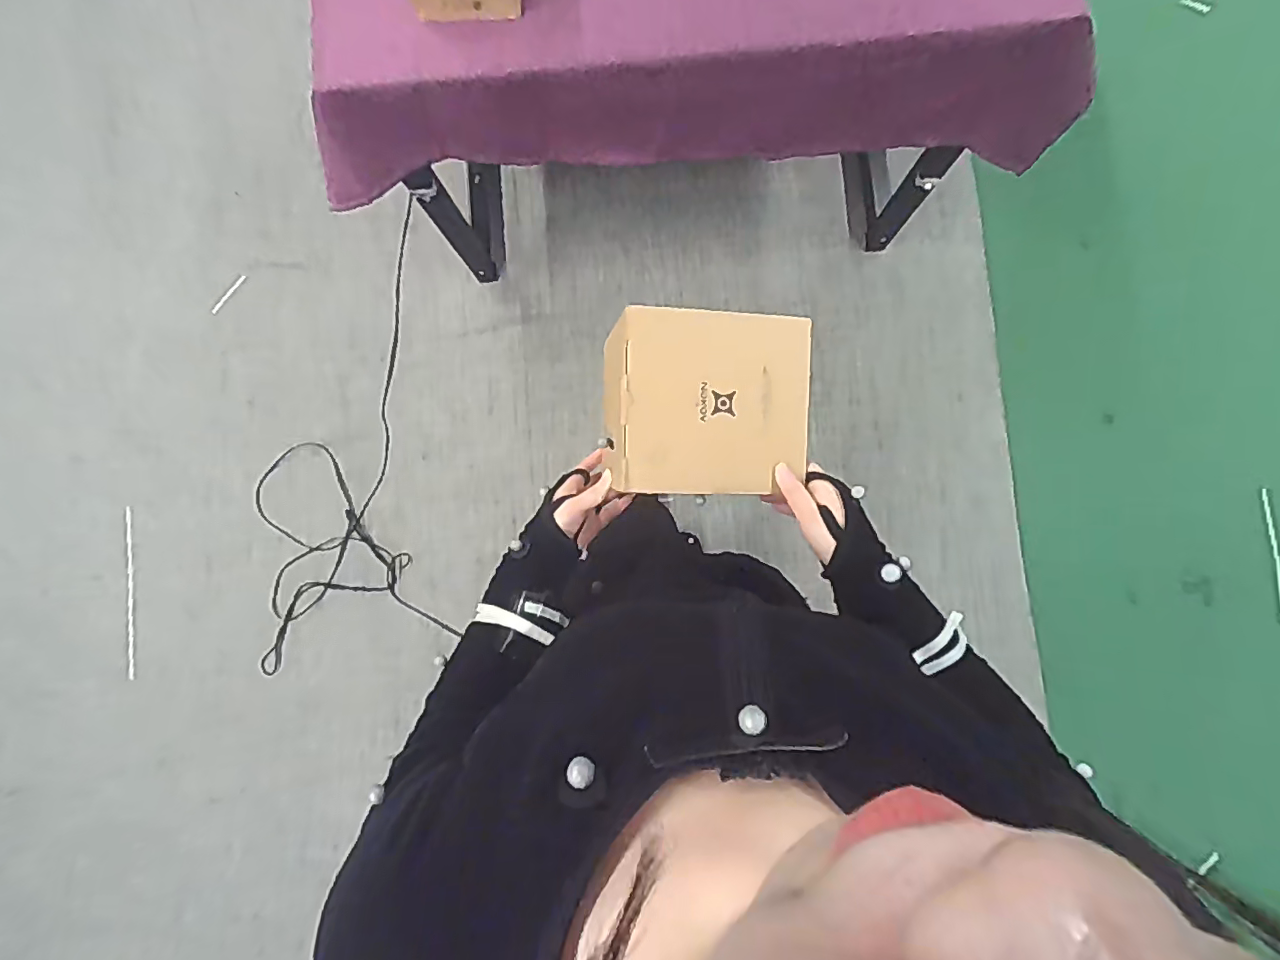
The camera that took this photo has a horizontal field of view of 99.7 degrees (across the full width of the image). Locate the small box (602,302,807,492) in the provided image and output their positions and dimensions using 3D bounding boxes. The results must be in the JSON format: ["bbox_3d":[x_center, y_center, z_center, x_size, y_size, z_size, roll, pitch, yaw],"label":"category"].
[{"bbox_3d":[0.054,-0.074,0.565,0.179,0.176,0.168,1,92,-10],"label":"small box"}]

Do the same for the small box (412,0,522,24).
[{"bbox_3d":[-0.272,-0.814,0.790,0.168,0.176,0.179,0,84,3],"label":"small box"}]
